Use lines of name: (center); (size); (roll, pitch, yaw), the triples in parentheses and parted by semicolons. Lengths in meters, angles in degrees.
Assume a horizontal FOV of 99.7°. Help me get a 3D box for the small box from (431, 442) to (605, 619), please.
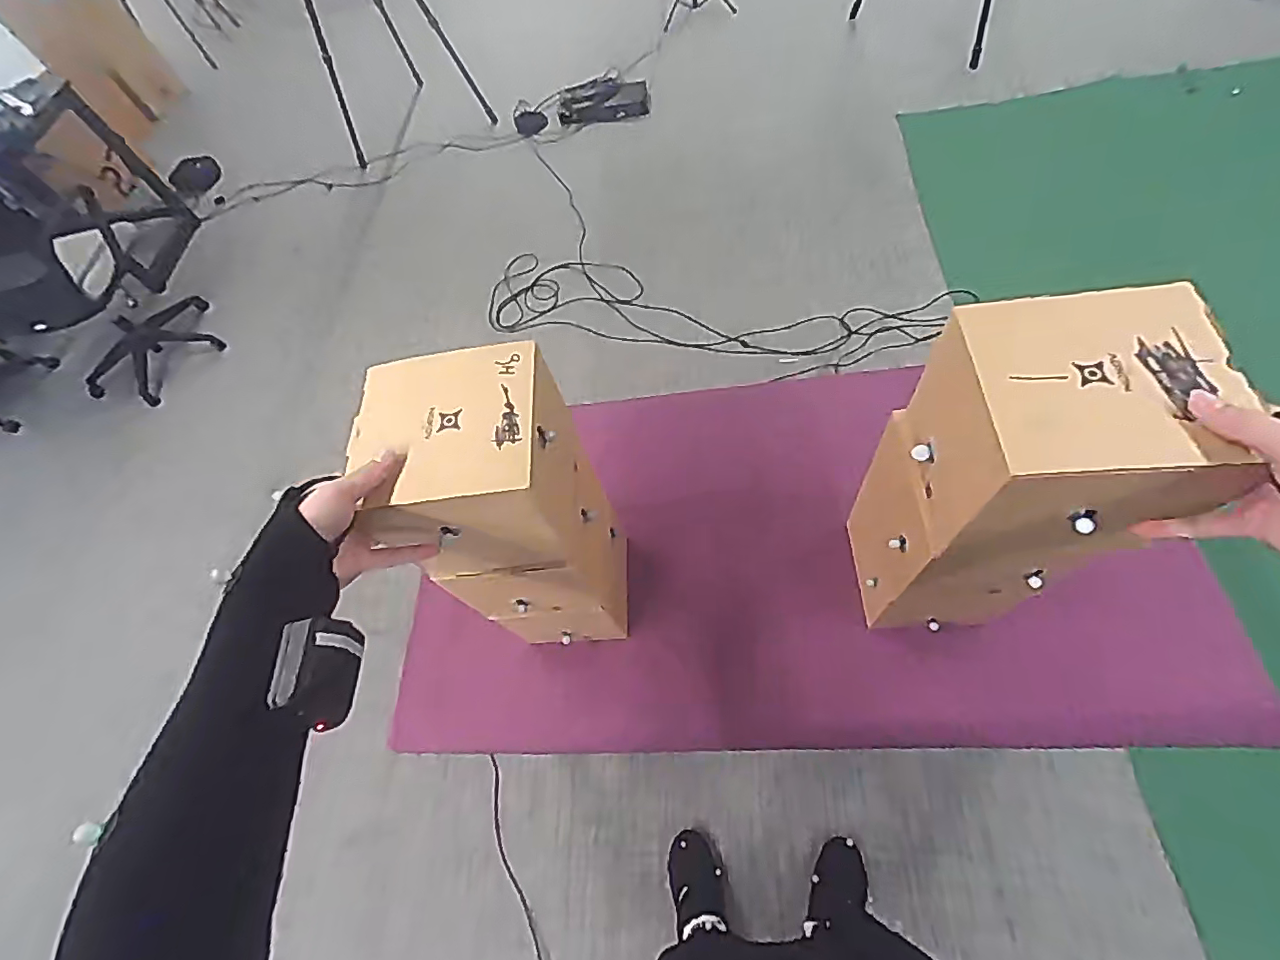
small box: (-0.144, 0.070, 0.705); (0.168, 0.176, 0.179); (-6, 61, 7)

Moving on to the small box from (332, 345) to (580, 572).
small box: (-0.172, -0.012, 0.565); (0.179, 0.176, 0.168); (-7, 60, 7)

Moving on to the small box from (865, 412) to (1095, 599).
small box: (0.370, 0.032, 0.618); (0.168, 0.176, 0.179); (-6, 60, 9)

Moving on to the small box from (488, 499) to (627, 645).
small box: (-0.117, 0.149, 0.844); (0.168, 0.176, 0.179); (-6, 60, 9)

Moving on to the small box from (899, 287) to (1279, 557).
small box: (0.350, -0.038, 0.471); (0.179, 0.176, 0.168); (-3, 61, 10)
